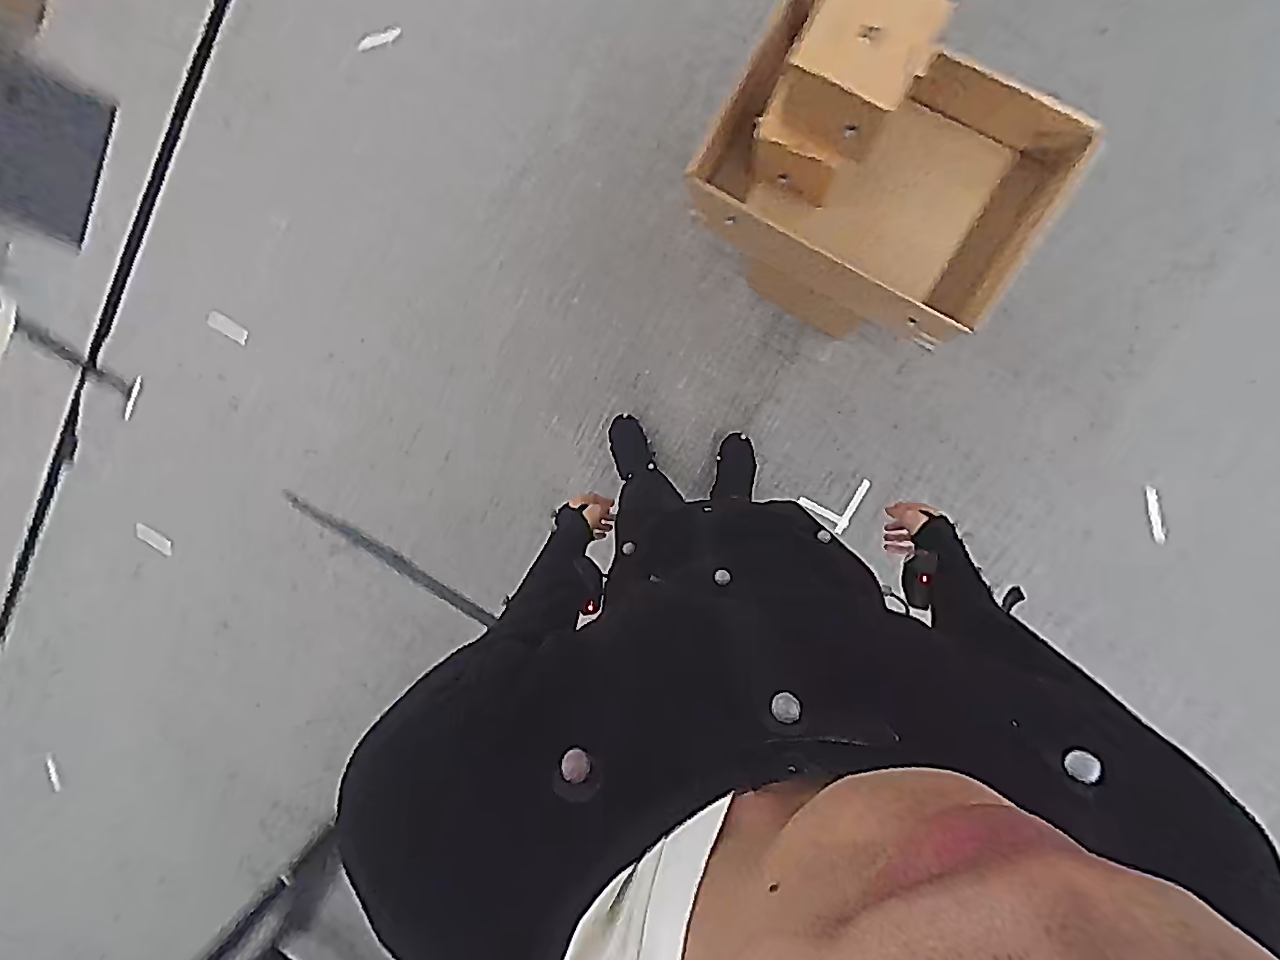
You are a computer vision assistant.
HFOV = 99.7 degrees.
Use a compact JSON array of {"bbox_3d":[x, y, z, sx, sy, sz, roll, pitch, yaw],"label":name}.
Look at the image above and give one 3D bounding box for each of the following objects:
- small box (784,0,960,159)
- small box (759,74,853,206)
[{"bbox_3d":[0.354,-0.655,0.865,0.179,0.176,0.168,31,98,4],"label":"small box"},{"bbox_3d":[0.339,-0.667,1.032,0.168,0.176,0.179,27,99,5],"label":"small box"}]
